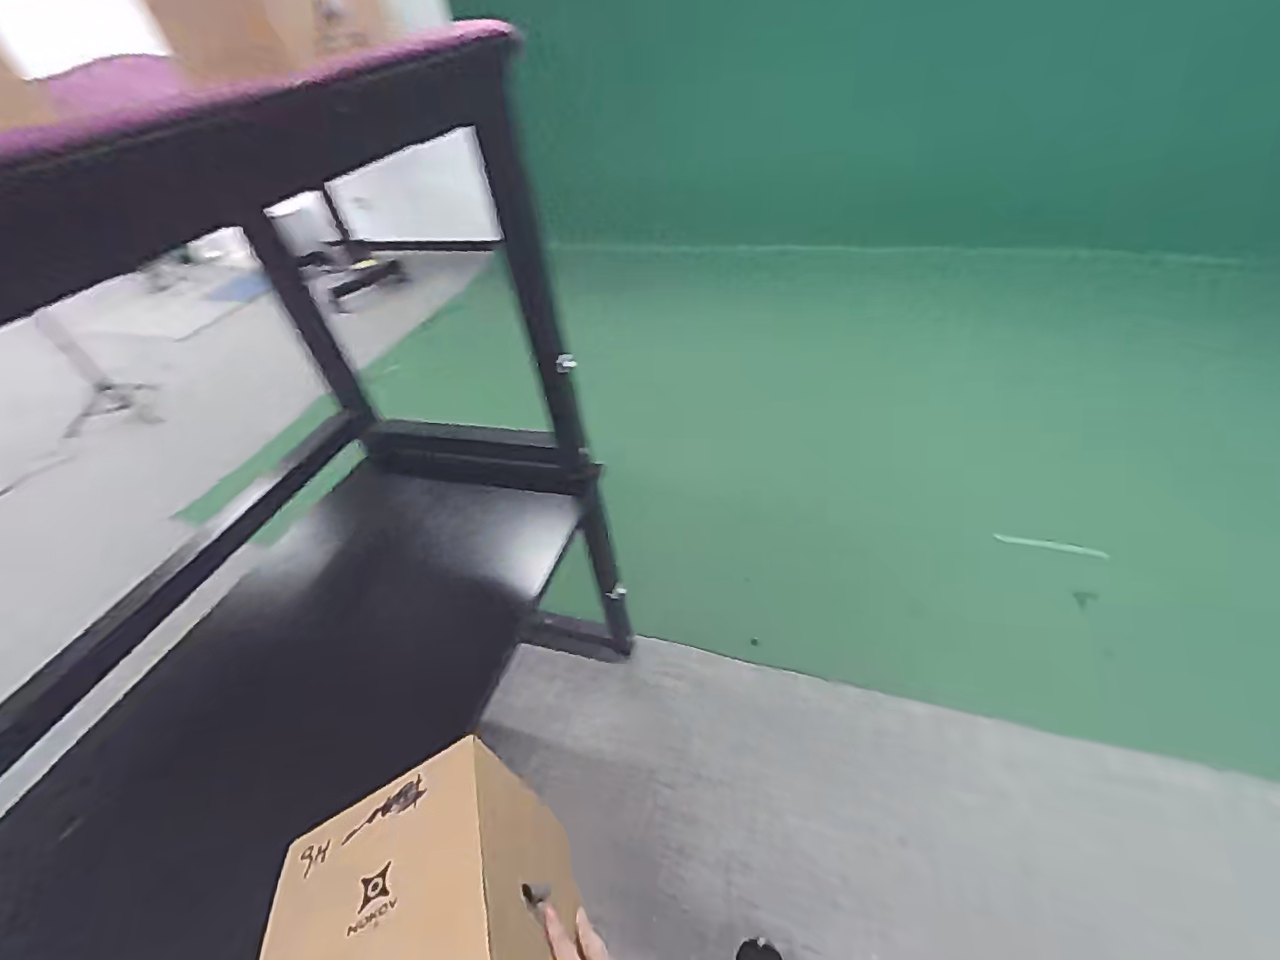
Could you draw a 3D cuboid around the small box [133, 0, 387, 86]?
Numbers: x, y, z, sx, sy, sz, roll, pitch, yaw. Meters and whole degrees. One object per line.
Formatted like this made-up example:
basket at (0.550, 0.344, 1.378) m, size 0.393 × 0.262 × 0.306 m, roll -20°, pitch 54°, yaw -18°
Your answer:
small box at (-0.409, -0.524, 0.558) m, size 0.179 × 0.176 × 0.168 m, roll 11°, pitch 47°, yaw 20°
